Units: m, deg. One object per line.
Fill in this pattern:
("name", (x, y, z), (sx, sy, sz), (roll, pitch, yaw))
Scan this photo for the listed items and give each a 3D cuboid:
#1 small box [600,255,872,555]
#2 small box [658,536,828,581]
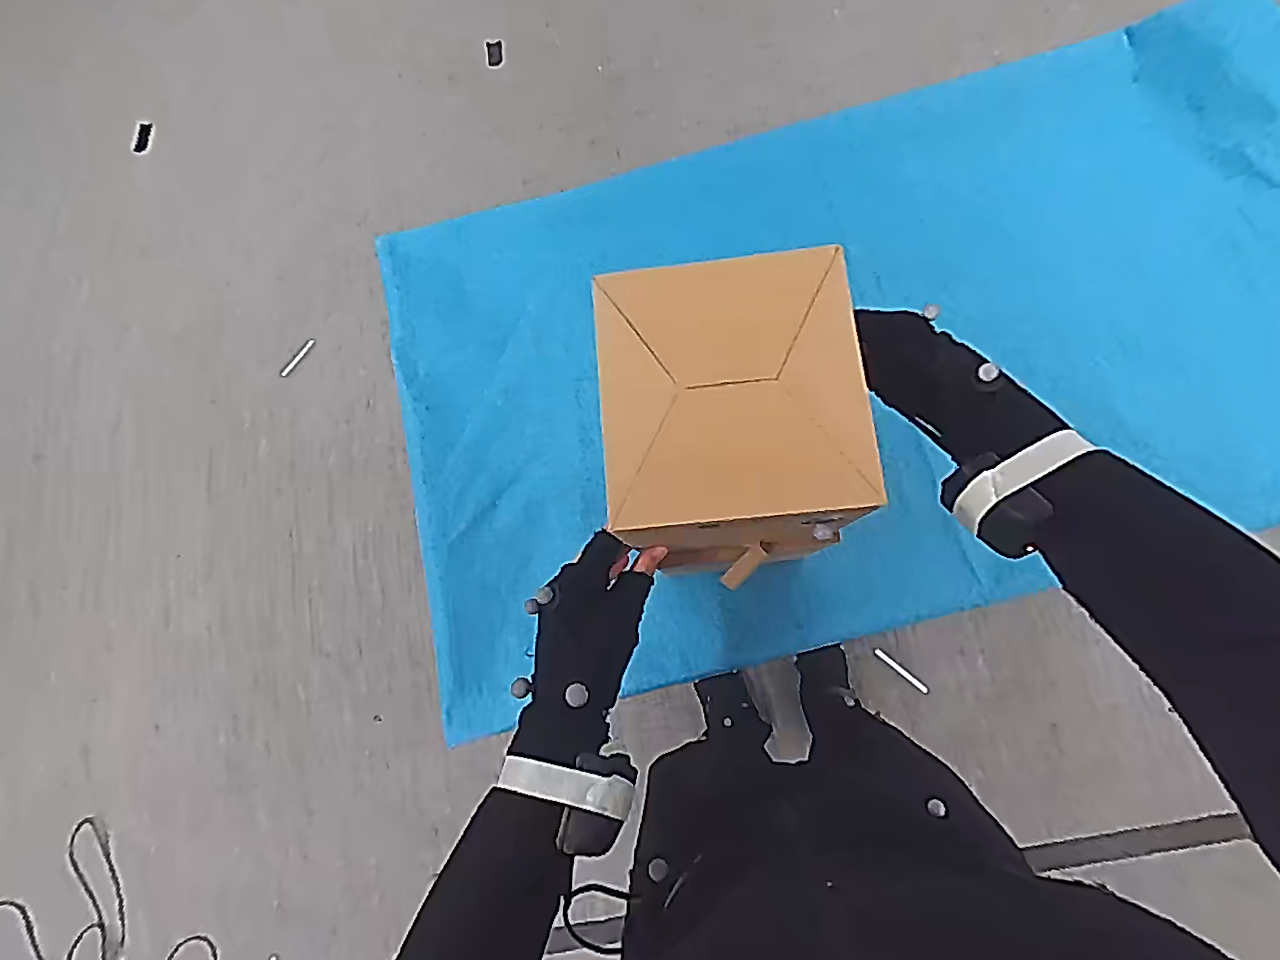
("small box", (0.066, -0.041, 0.423), (0.168, 0.176, 0.179), (-6, 78, 5))
("small box", (0.094, 0.006, 0.580), (0.168, 0.176, 0.179), (-9, 76, 4))
